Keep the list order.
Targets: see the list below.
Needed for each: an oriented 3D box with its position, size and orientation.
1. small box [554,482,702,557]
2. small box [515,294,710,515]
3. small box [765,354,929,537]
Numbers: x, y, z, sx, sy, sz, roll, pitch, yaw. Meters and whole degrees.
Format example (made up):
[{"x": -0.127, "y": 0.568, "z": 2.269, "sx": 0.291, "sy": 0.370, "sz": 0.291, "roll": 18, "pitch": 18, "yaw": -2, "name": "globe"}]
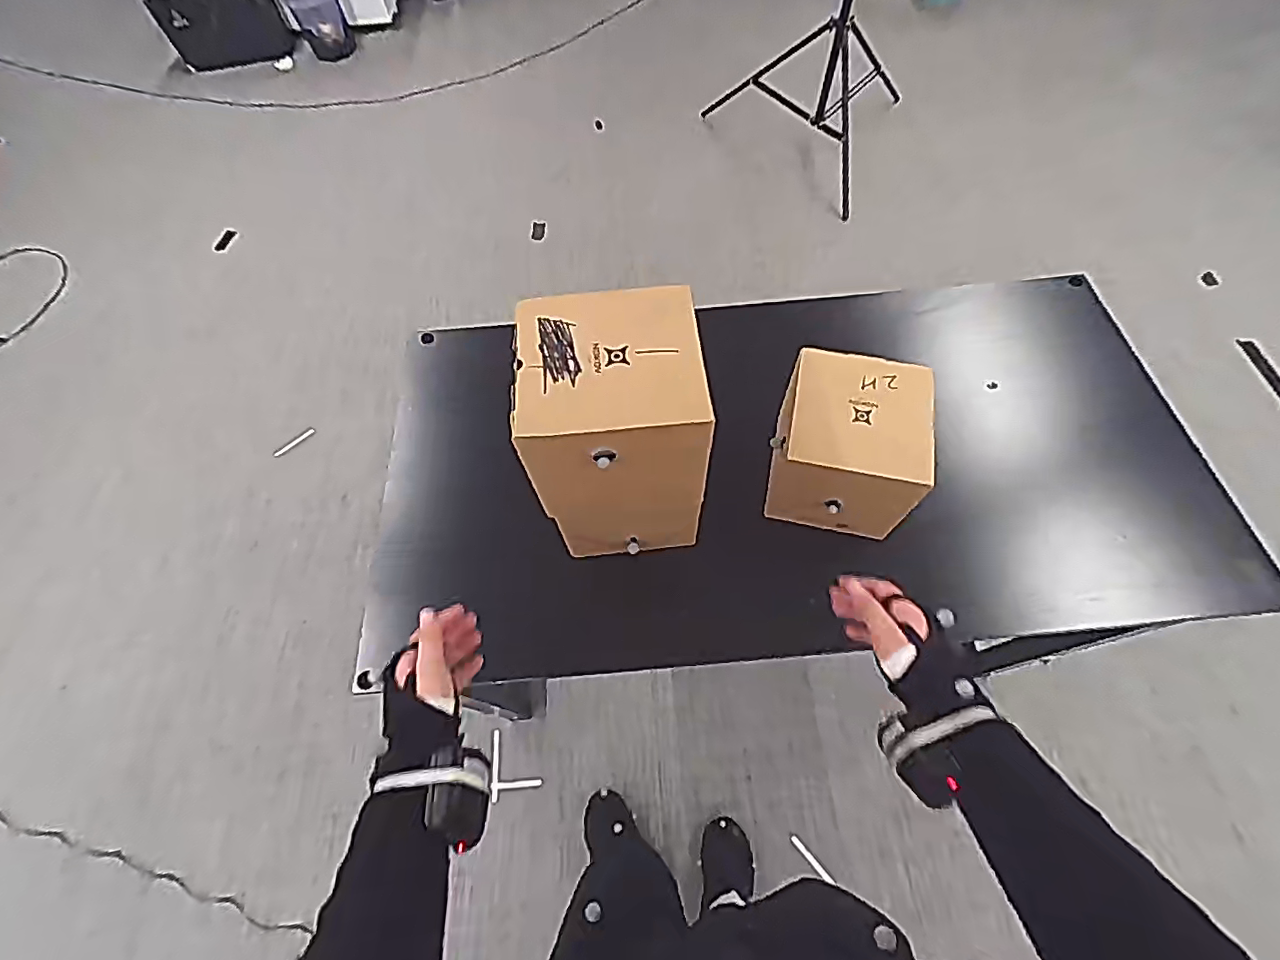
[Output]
[{"x": -0.020, "y": -0.005, "z": 0.731, "sx": 0.179, "sy": 0.176, "sz": 0.168, "roll": -6, "pitch": 62, "yaw": -1, "name": "small box"}, {"x": -0.026, "y": -0.071, "z": 0.579, "sx": 0.179, "sy": 0.176, "sz": 0.168, "roll": -5, "pitch": 62, "yaw": -1, "name": "small box"}, {"x": 0.272, "y": -0.040, "z": 0.735, "sx": 0.168, "sy": 0.176, "sz": 0.179, "roll": 12, "pitch": 63, "yaw": 8, "name": "small box"}]
